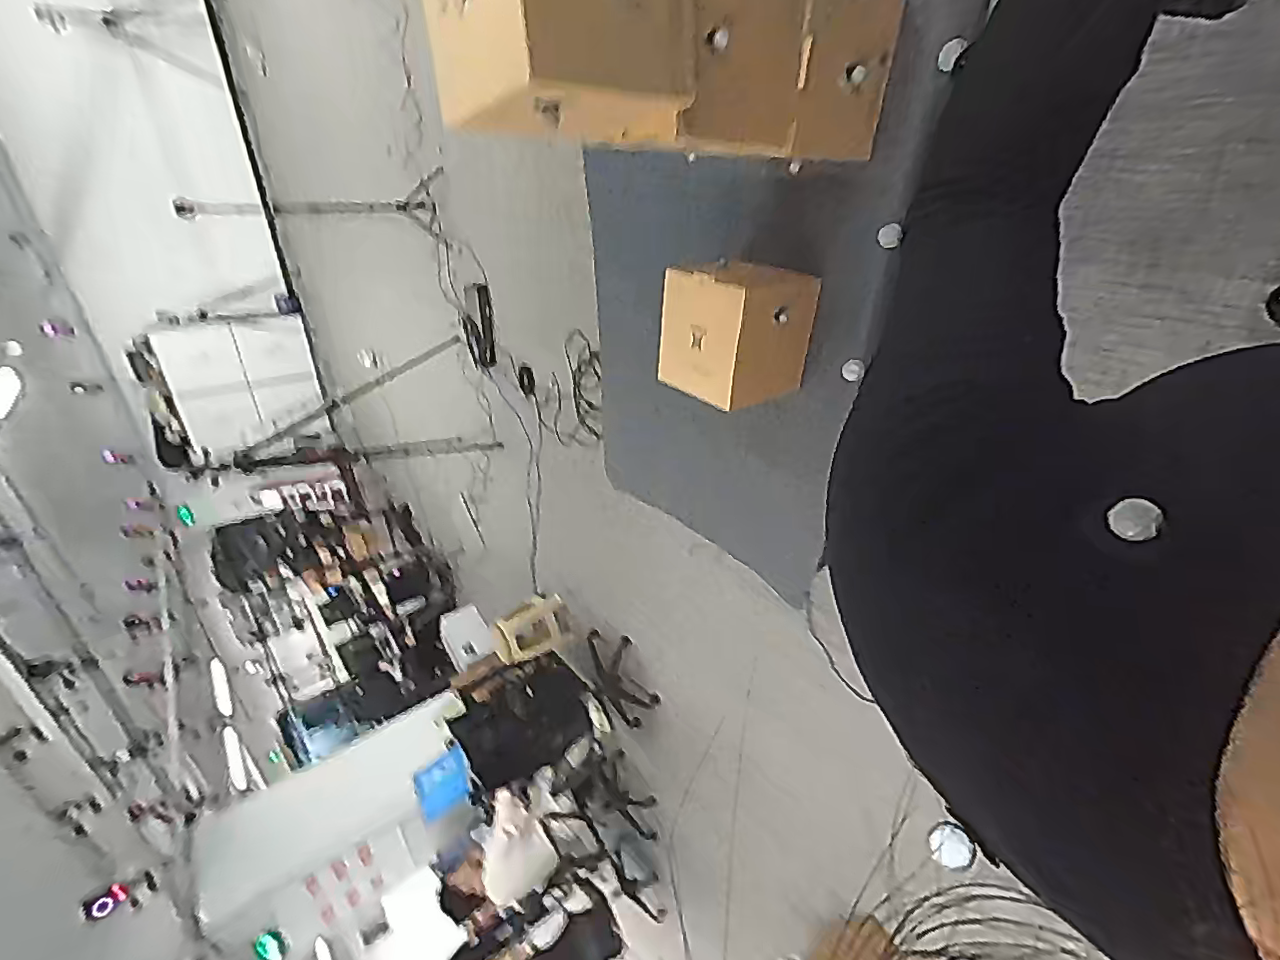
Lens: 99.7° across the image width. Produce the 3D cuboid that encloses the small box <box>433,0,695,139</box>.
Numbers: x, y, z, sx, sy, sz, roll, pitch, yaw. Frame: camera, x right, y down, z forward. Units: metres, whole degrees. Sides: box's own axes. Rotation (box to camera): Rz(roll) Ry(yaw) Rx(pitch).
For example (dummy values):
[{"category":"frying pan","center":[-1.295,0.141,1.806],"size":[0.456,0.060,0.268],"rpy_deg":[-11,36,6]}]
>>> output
[{"category":"small box","center":[-0.064,-0.406,0.466],"size":[0.179,0.176,0.168],"rpy_deg":[24,126,48]}]

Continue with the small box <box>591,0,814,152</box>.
[{"category":"small box","center":[0.061,-0.450,0.567],"size":[0.168,0.176,0.179],"rpy_deg":[33,133,43]}]

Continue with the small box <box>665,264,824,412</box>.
[{"category":"small box","center":[0.160,-0.230,0.839],"size":[0.168,0.176,0.179],"rpy_deg":[35,134,42]}]

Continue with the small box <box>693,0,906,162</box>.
[{"category":"small box","center":[0.188,-0.488,0.661],"size":[0.179,0.176,0.168],"rpy_deg":[34,133,41]}]
